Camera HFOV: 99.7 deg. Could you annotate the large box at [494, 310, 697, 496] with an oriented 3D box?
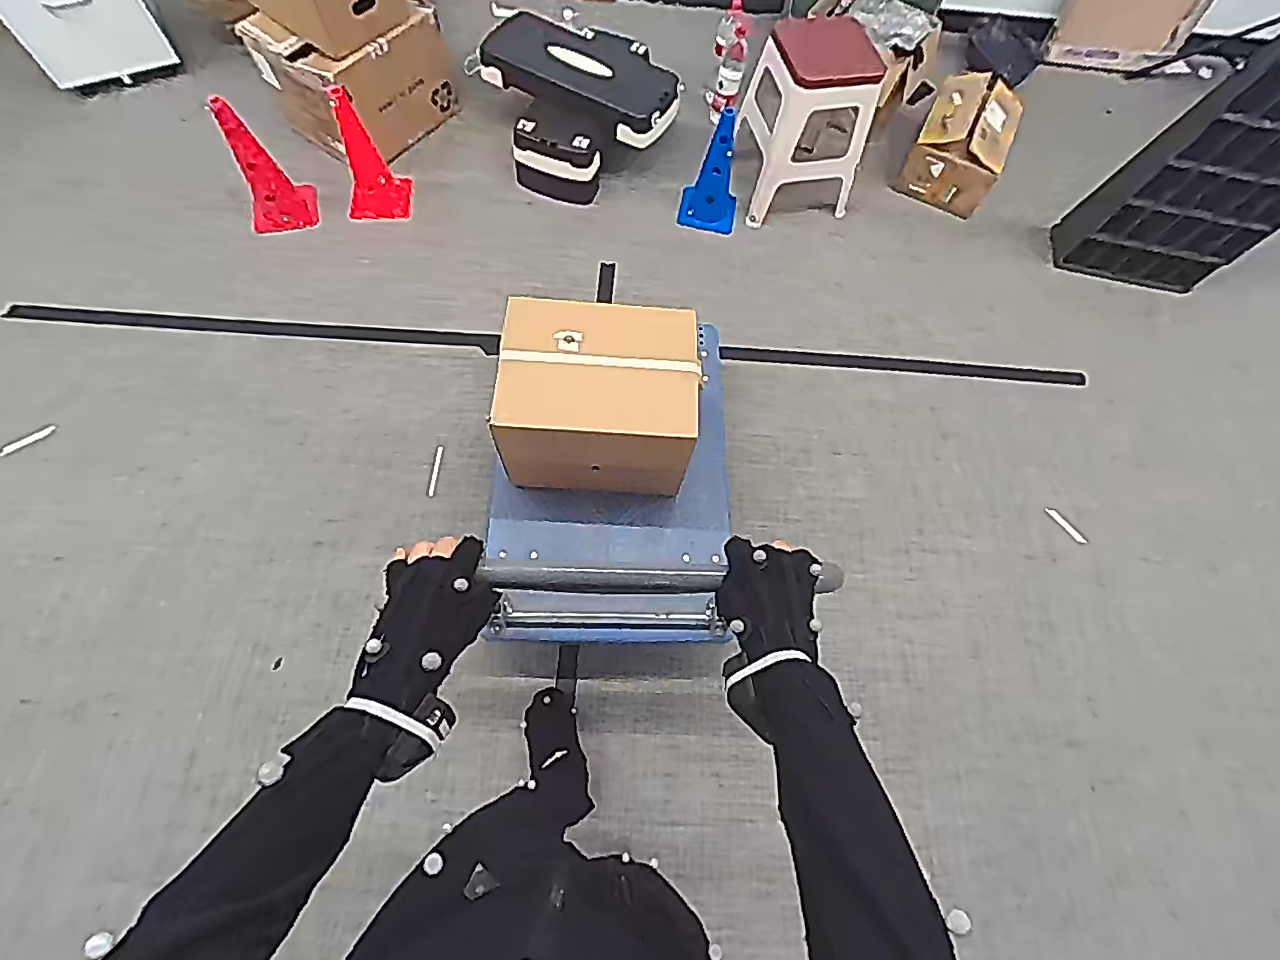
[{"bbox_3d":[-0.089,-0.161,1.250,0.408,0.320,0.320,3,67,-2],"label":"large box"}]
